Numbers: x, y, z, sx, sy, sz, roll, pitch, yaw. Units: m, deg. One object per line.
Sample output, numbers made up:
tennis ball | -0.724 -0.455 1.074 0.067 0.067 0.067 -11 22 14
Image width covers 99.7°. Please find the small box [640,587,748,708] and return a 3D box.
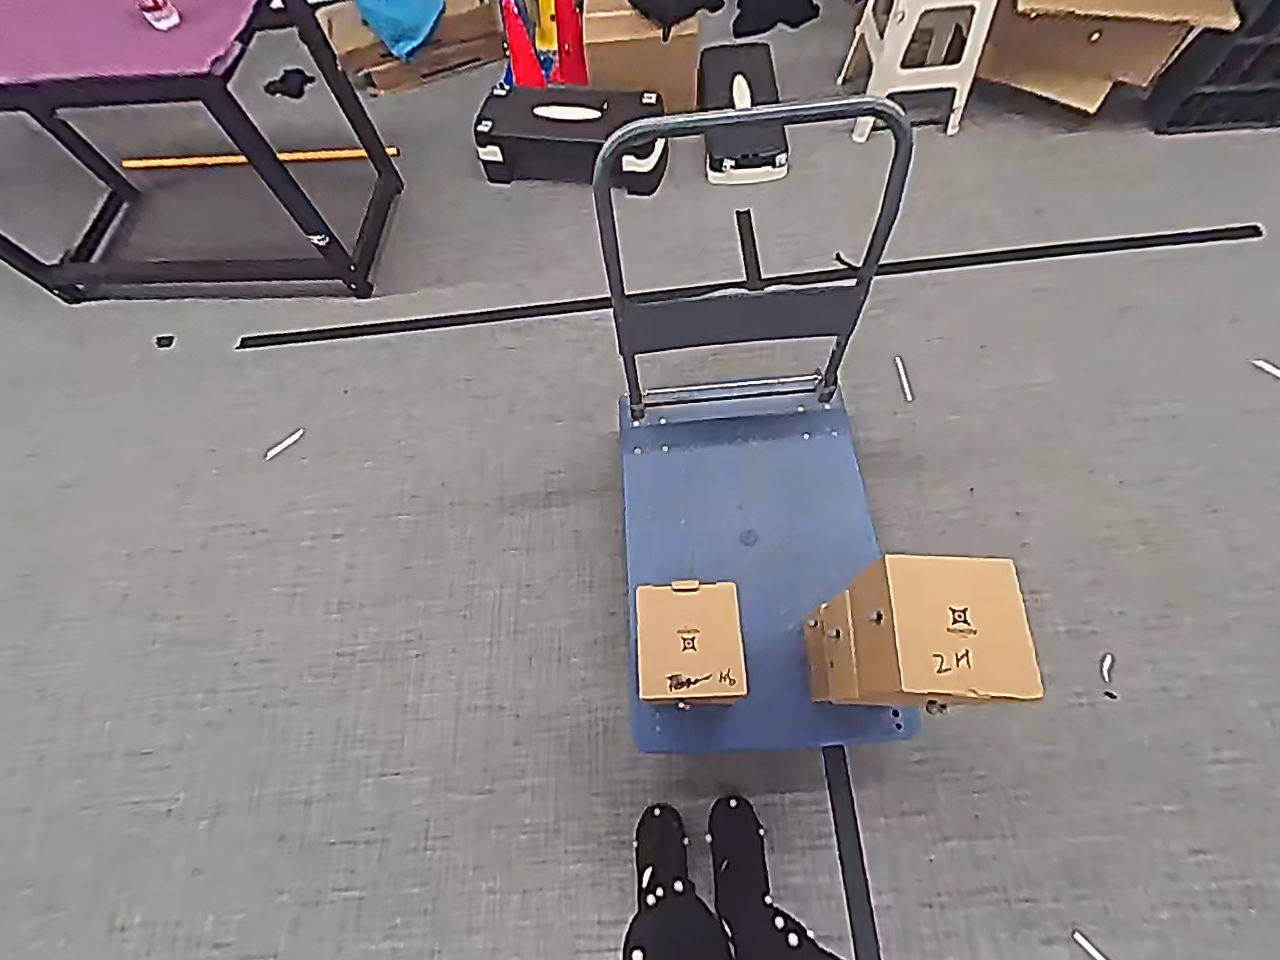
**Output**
small box | 0.086 0.290 0.923 0.168 0.176 0.179 -3 65 4

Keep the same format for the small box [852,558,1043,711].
small box | 0.405 0.218 0.750 0.168 0.176 0.179 2 66 5

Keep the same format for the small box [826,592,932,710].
small box | 0.417 0.289 0.899 0.179 0.176 0.168 1 66 4
